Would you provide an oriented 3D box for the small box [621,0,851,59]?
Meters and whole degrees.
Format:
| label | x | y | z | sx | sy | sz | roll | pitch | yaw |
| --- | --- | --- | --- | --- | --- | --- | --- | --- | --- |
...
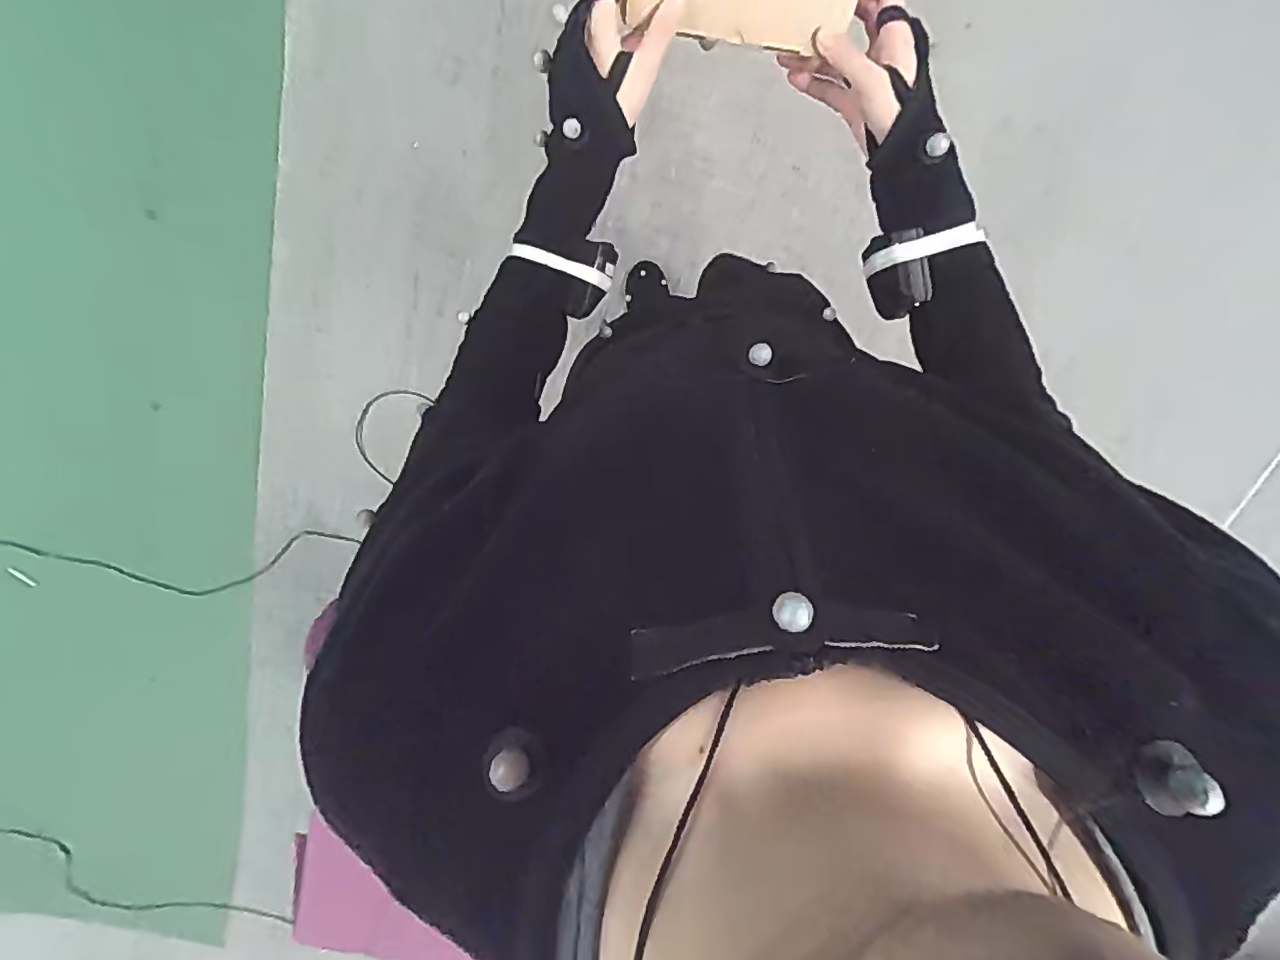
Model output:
| label | x | y | z | sx | sy | sz | roll | pitch | yaw |
| --- | --- | --- | --- | --- | --- | --- | --- | --- | --- |
| small box | 0.075 | -0.442 | 0.392 | 0.168 | 0.176 | 0.179 | 5 | 136 | -7 |
